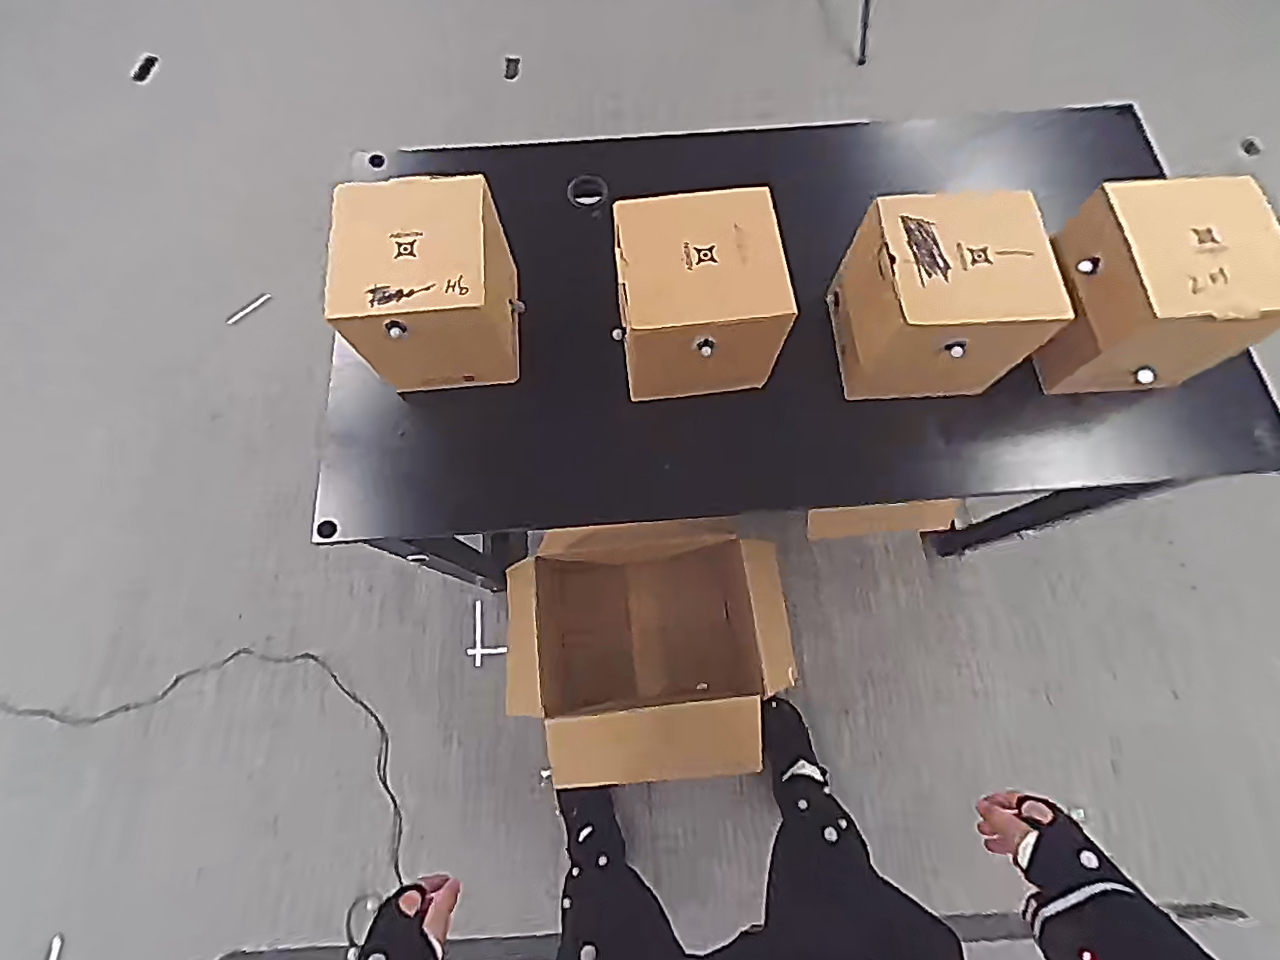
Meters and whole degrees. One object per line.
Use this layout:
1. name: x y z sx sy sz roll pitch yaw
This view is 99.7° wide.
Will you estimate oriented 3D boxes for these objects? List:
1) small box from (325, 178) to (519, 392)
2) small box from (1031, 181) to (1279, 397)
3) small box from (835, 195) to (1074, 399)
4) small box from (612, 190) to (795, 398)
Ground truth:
1. small box: -0.245 -0.226 0.653 0.168 0.176 0.179 -5 72 -1
2. small box: 0.590 -0.216 0.637 0.168 0.176 0.179 -3 72 1
3. small box: 0.344 -0.204 0.638 0.179 0.176 0.168 -2 72 -1
4. small box: 0.065 -0.209 0.646 0.179 0.176 0.168 -6 73 -2
